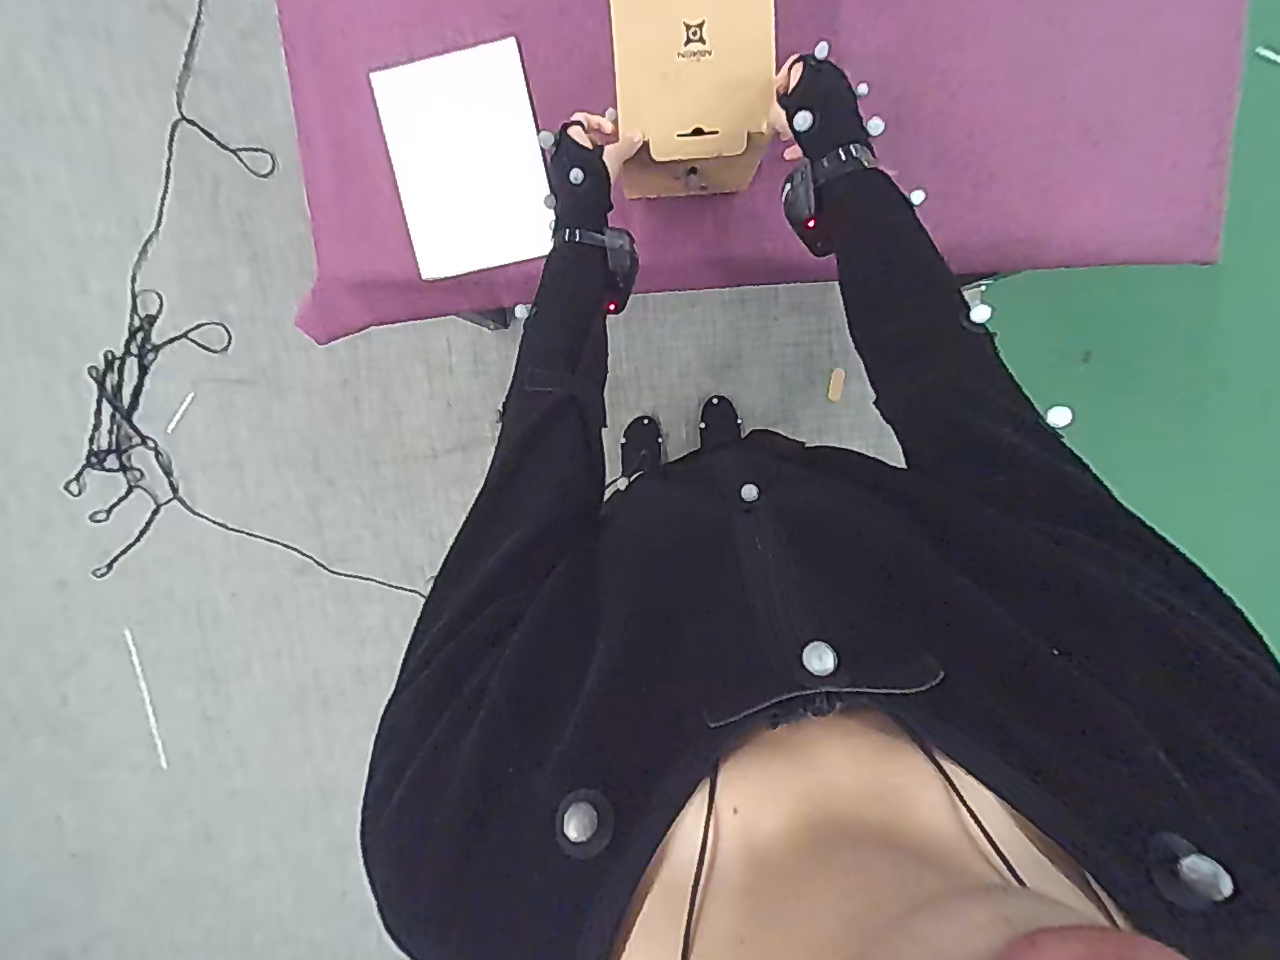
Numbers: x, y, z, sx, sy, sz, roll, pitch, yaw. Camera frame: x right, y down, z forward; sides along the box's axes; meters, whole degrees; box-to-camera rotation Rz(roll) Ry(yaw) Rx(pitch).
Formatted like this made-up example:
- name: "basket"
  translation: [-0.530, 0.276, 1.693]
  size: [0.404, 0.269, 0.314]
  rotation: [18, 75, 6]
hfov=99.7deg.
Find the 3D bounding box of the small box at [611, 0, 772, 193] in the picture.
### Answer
- name: "small box"
  translation: [0.056, -0.453, 0.633]
  size: [0.168, 0.176, 0.179]
  rotation: [-3, 99, 1]
